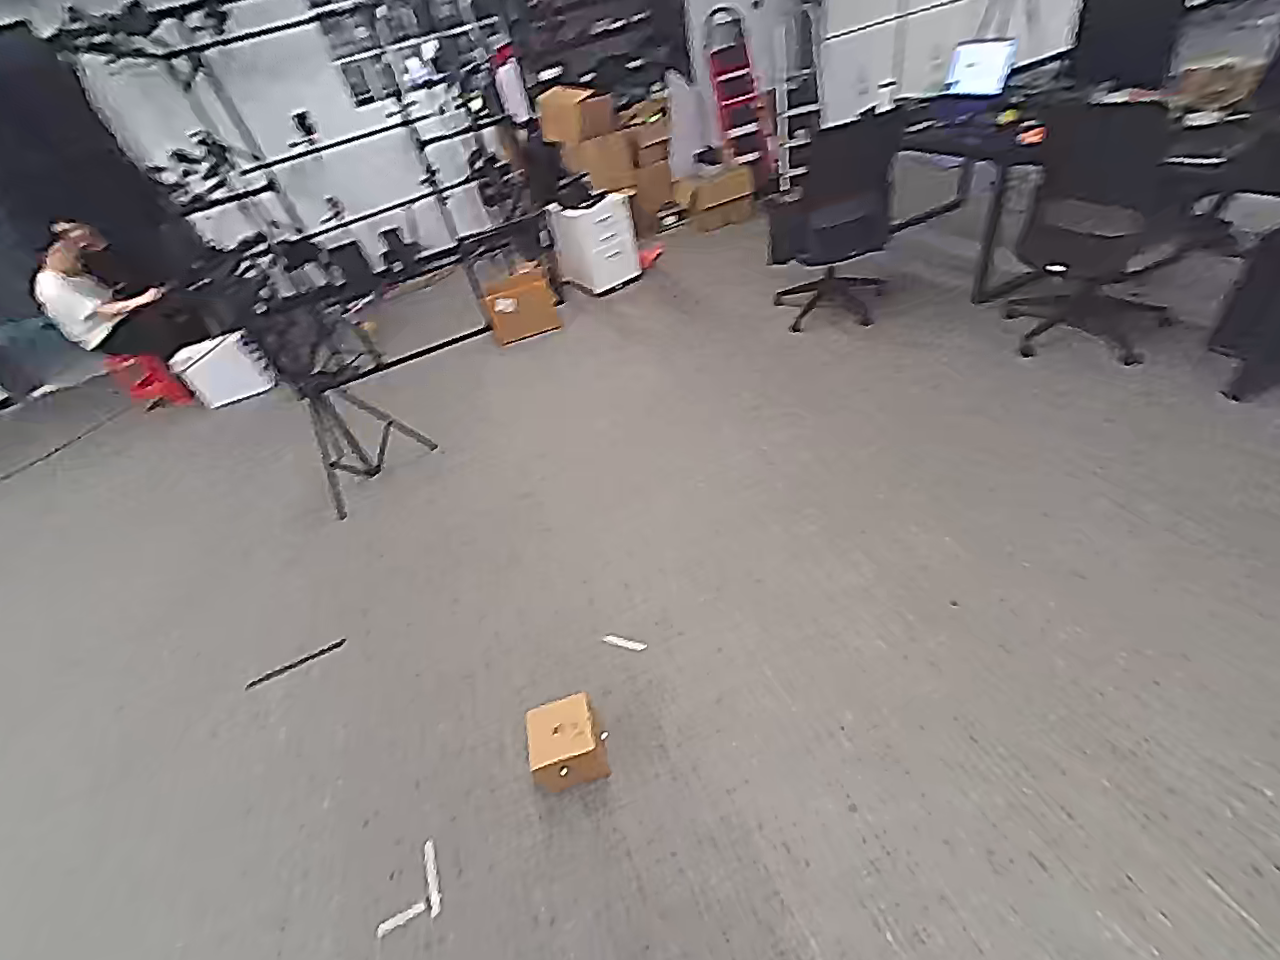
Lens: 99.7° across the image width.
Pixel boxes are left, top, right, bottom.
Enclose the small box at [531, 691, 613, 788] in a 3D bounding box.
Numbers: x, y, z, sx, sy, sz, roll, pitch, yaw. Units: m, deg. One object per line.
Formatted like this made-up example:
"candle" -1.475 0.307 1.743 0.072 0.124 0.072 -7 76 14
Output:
"small box" -0.188 0.721 1.496 0.179 0.176 0.168 -17 40 -2
